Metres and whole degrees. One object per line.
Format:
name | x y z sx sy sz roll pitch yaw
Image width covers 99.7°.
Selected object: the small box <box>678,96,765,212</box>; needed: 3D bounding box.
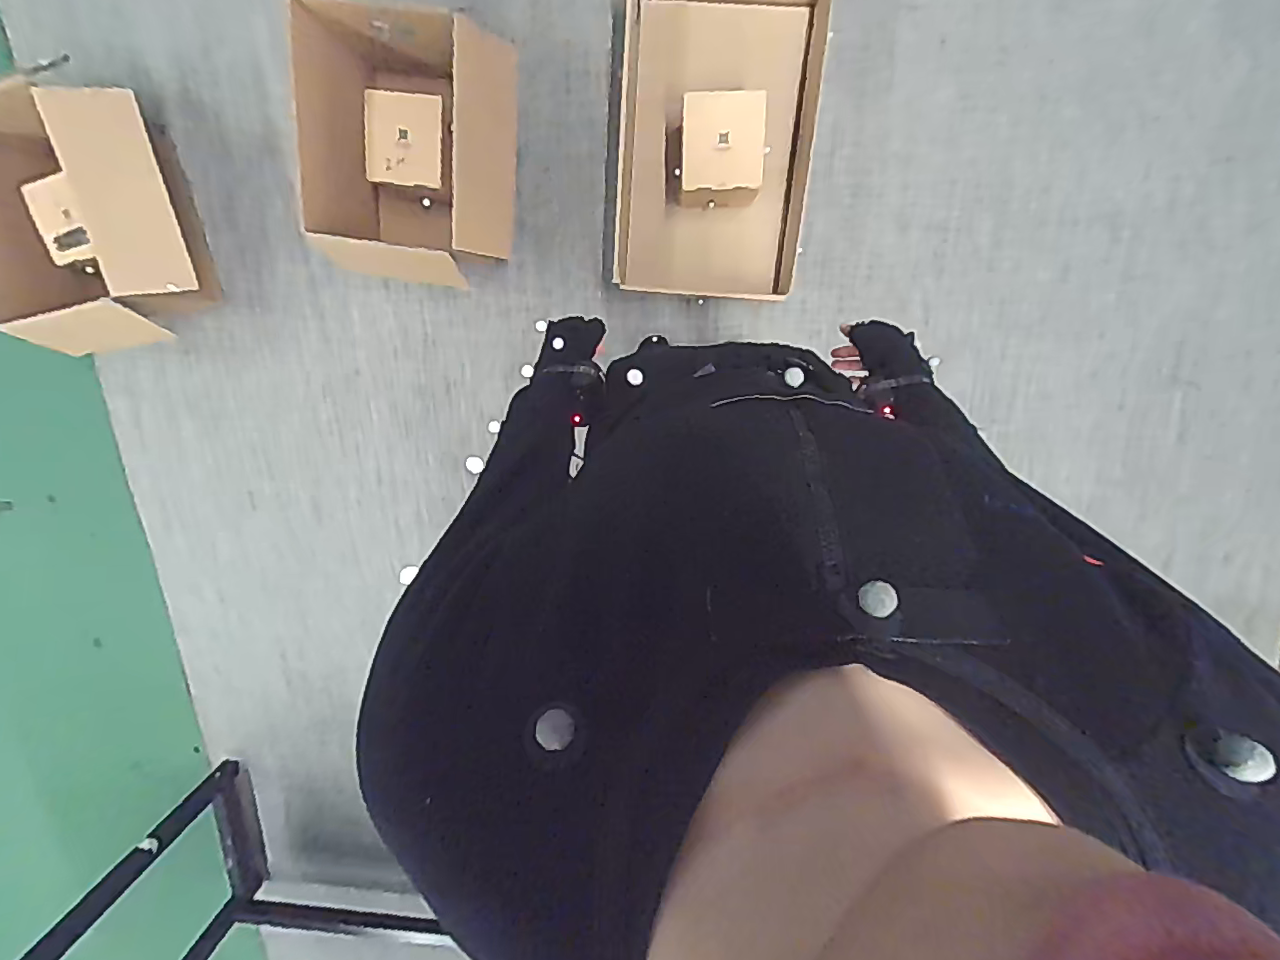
small box | 0.167 -0.690 1.161 0.168 0.176 0.179 0 105 3
